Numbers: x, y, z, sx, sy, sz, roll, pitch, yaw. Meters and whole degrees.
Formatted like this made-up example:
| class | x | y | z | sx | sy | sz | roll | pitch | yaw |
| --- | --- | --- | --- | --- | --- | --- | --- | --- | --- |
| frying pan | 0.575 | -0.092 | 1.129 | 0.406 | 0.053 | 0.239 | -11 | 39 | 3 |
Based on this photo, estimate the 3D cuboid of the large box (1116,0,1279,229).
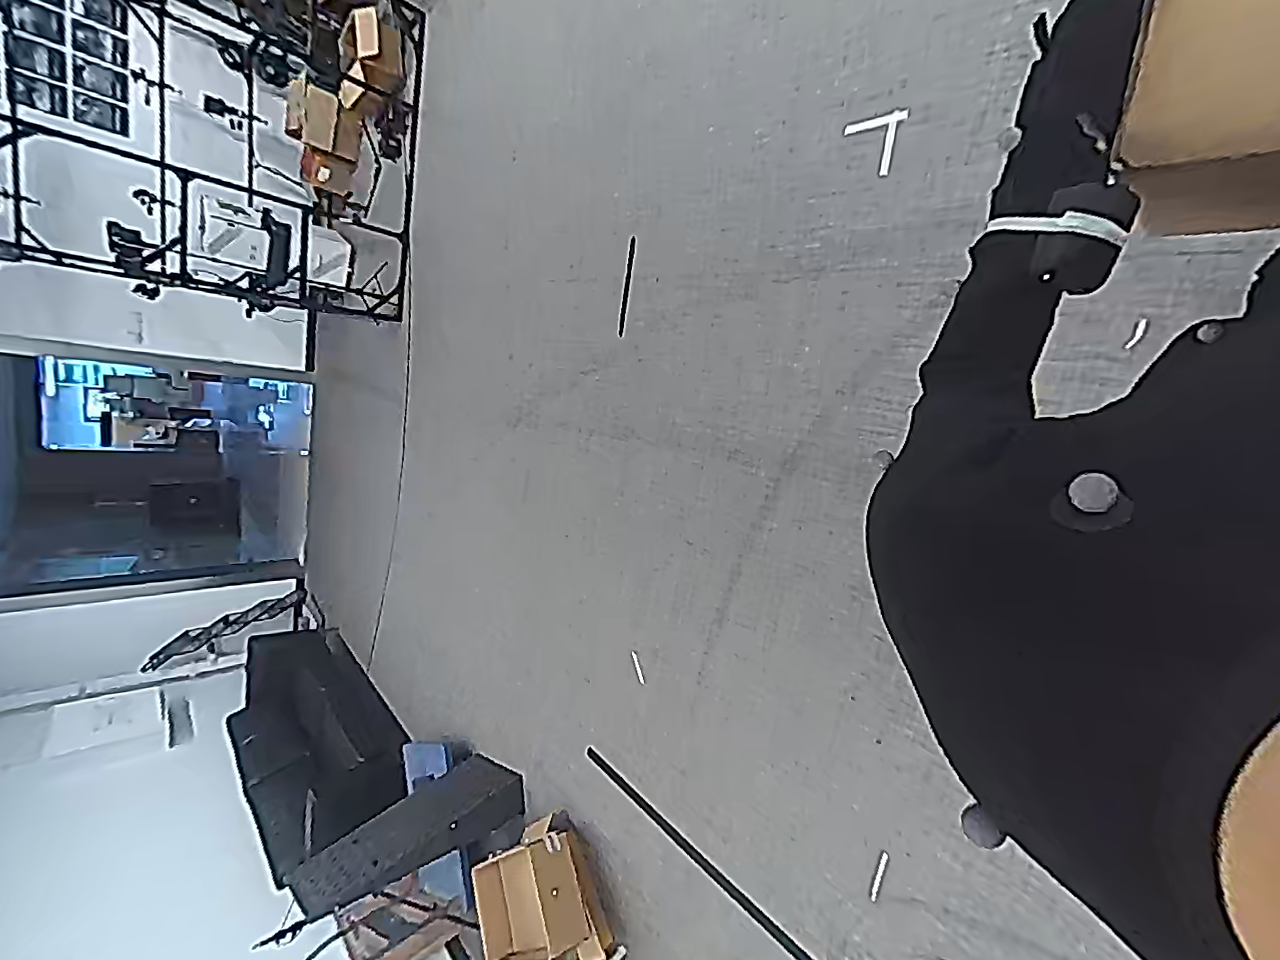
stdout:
| class | x | y | z | sx | sy | sz | roll | pitch | yaw |
| --- | --- | --- | --- | --- | --- | --- | --- | --- | --- |
| large box | 0.600 | -0.364 | 0.330 | 0.408 | 0.320 | 0.320 | 17 | 112 | 44 |
